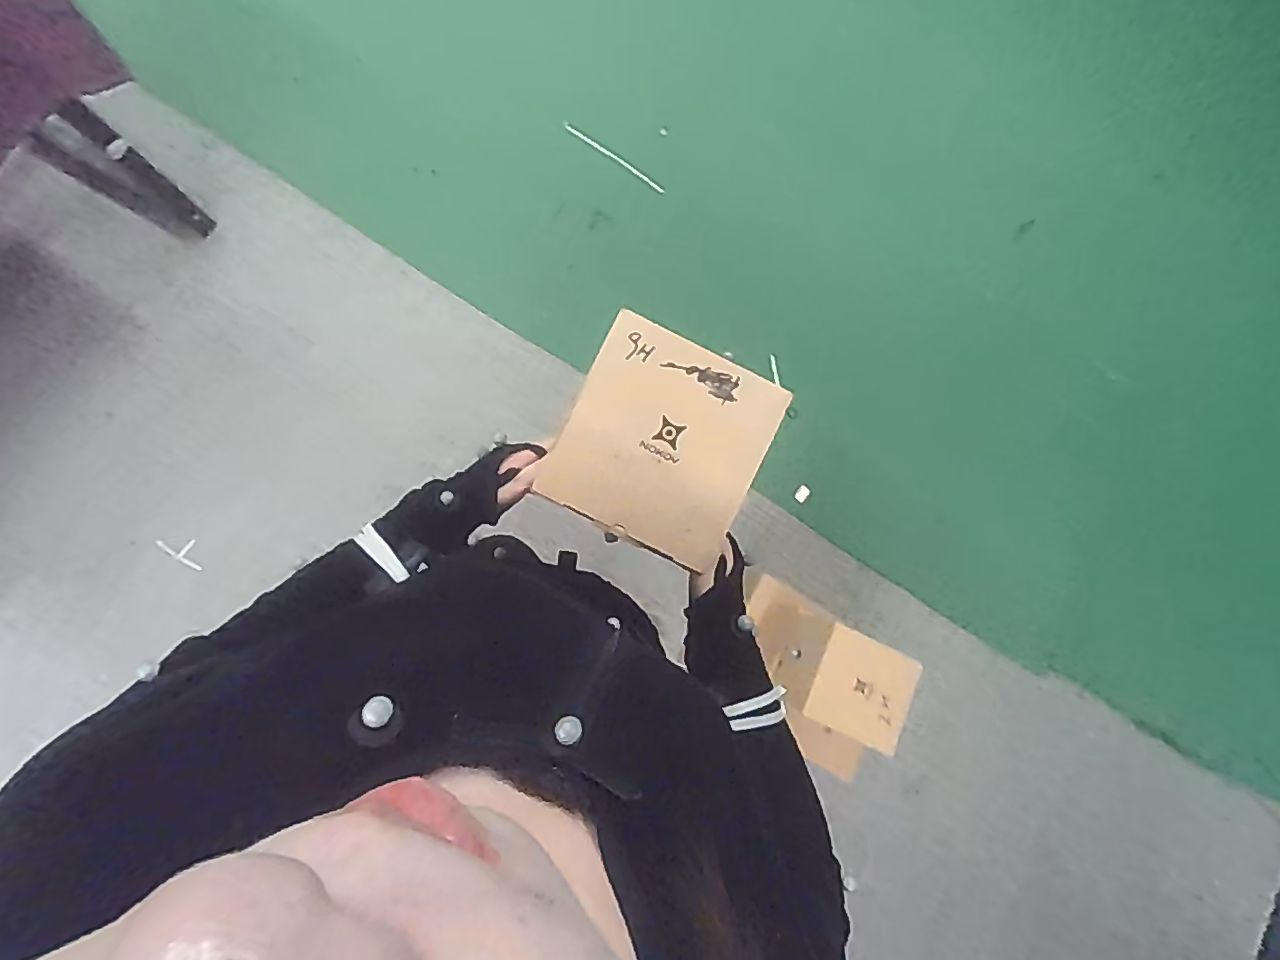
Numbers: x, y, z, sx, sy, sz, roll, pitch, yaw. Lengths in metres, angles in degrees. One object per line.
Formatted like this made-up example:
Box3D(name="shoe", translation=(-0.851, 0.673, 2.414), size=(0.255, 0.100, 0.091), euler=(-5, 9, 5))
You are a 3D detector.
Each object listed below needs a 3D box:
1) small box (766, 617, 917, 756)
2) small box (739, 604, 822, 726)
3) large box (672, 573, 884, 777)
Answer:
Box3D(name="small box", translation=(0.358, 0.365, 0.994), size=(0.179, 0.176, 0.168), euler=(28, 80, -4))
Box3D(name="small box", translation=(0.331, 0.384, 1.155), size=(0.168, 0.176, 0.179), euler=(32, 78, -3))
Box3D(name="large box", translation=(0.349, 0.470, 1.393), size=(0.408, 0.320, 0.320), euler=(33, 80, -3))
